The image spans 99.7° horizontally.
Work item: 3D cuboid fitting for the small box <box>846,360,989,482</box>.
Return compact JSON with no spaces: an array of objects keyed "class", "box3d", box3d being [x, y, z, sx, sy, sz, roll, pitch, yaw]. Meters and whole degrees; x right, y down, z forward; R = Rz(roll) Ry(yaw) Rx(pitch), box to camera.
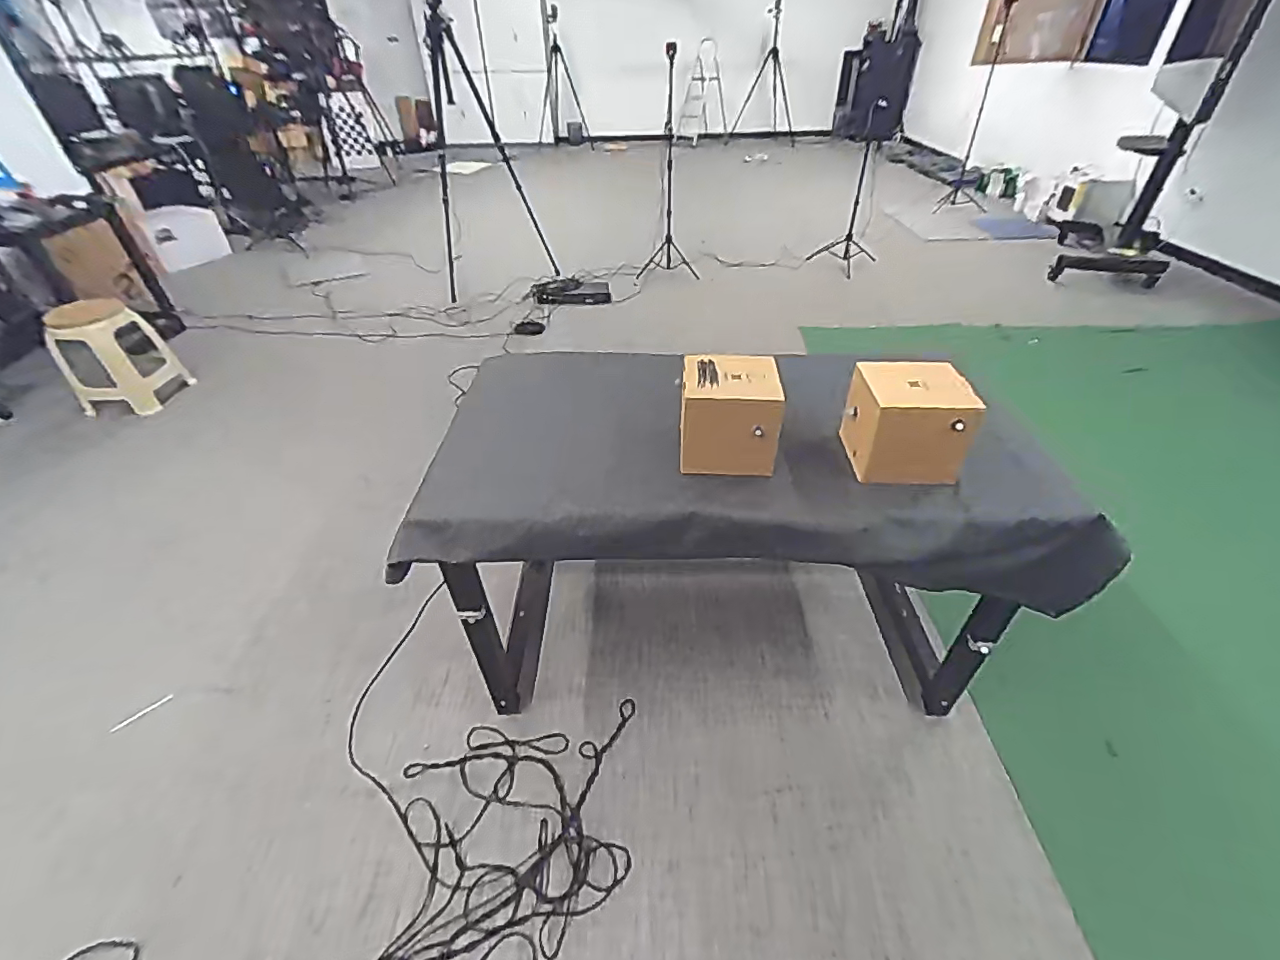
[{"class":"small box","box3d":[0.495,-0.109,1.000,0.179,0.176,0.168,1,40,3]}]
